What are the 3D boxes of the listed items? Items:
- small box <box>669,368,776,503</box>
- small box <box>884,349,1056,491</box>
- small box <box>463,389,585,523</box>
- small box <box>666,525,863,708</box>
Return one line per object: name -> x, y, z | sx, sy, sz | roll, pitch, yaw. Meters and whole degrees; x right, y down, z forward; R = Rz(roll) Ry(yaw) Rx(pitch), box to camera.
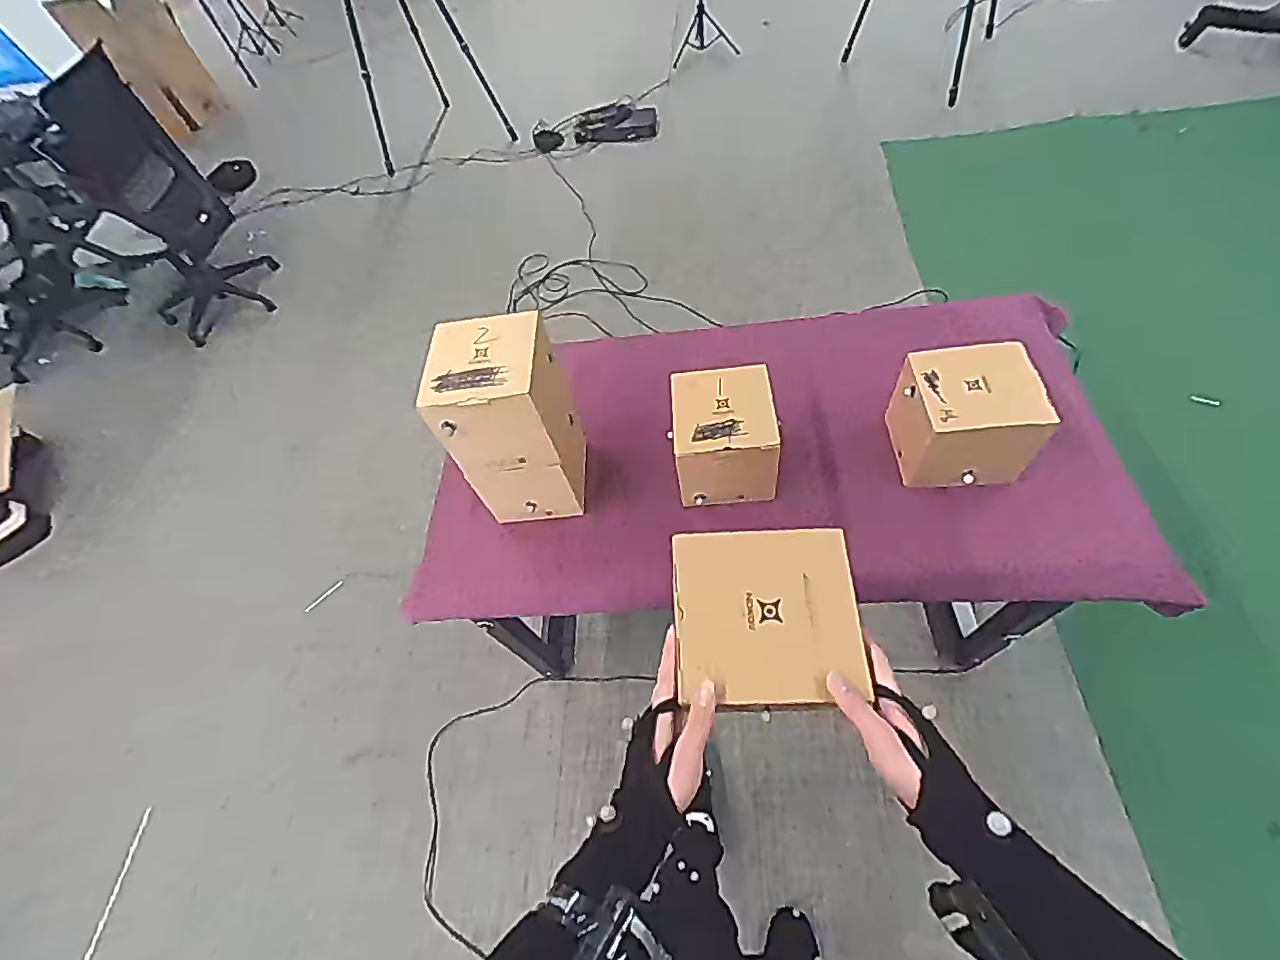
small box -> 0.143, -0.069, 0.950 | 0.168, 0.176, 0.179 | -5, 57, 7
small box -> 0.530, -0.094, 0.899 | 0.179, 0.176, 0.168 | -3, 57, 8
small box -> -0.200, -0.039, 0.988 | 0.168, 0.176, 0.179 | -6, 57, 6
small box -> 0.121, 0.157, 0.593 | 0.179, 0.176, 0.168 | -2, 65, 4
